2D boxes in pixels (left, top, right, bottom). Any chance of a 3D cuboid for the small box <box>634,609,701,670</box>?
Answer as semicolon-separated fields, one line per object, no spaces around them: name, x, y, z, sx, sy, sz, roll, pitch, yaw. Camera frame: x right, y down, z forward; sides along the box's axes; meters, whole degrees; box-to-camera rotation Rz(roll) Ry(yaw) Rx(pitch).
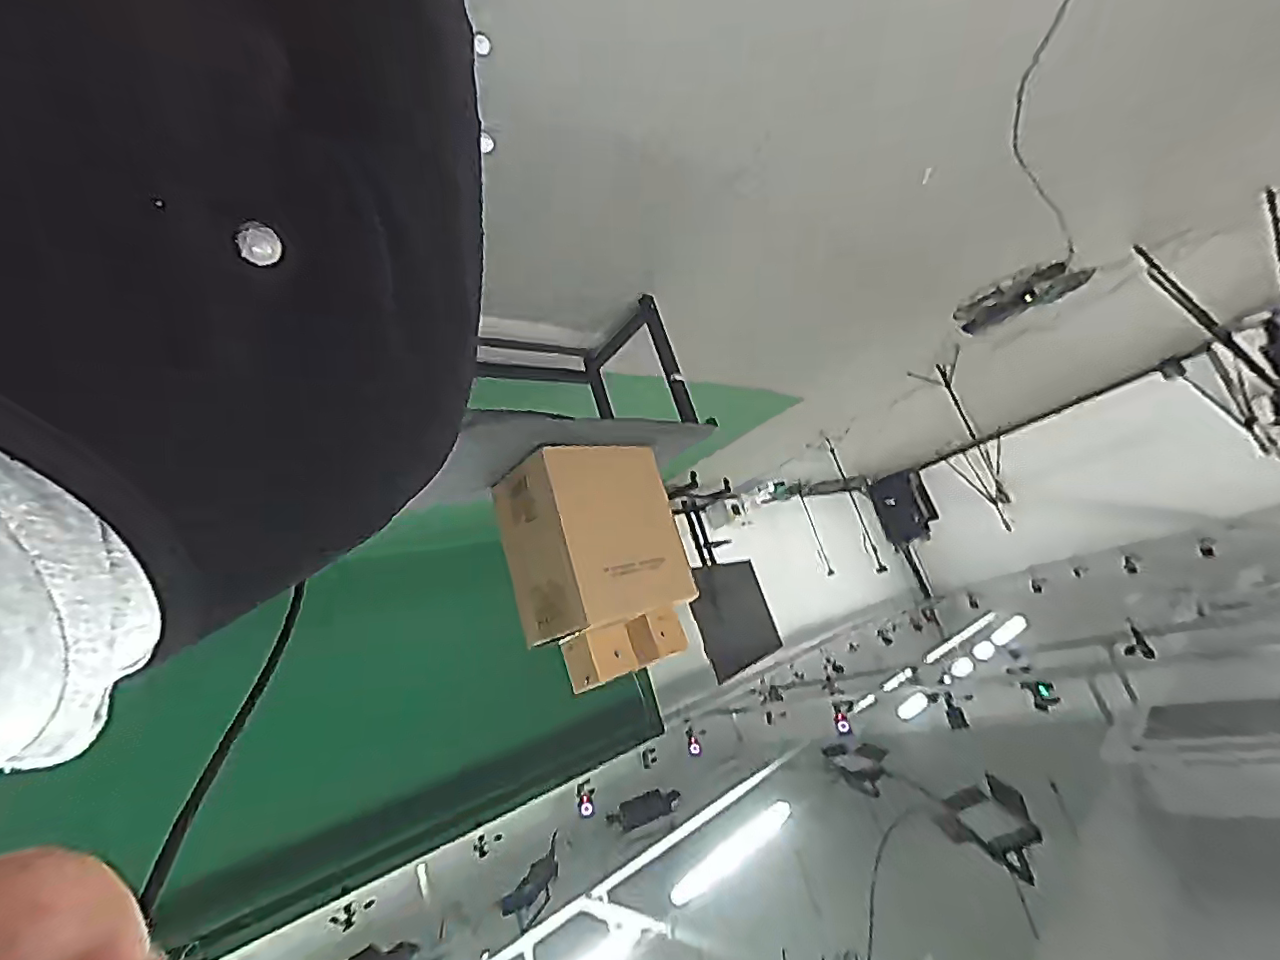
small box;0.093;0.599;2.042;0.168;0.176;0.179;-1;152;-46

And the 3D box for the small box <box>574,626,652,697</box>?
small box;-0.096;0.619;1.867;0.179;0.176;0.168;-7;155;-44
